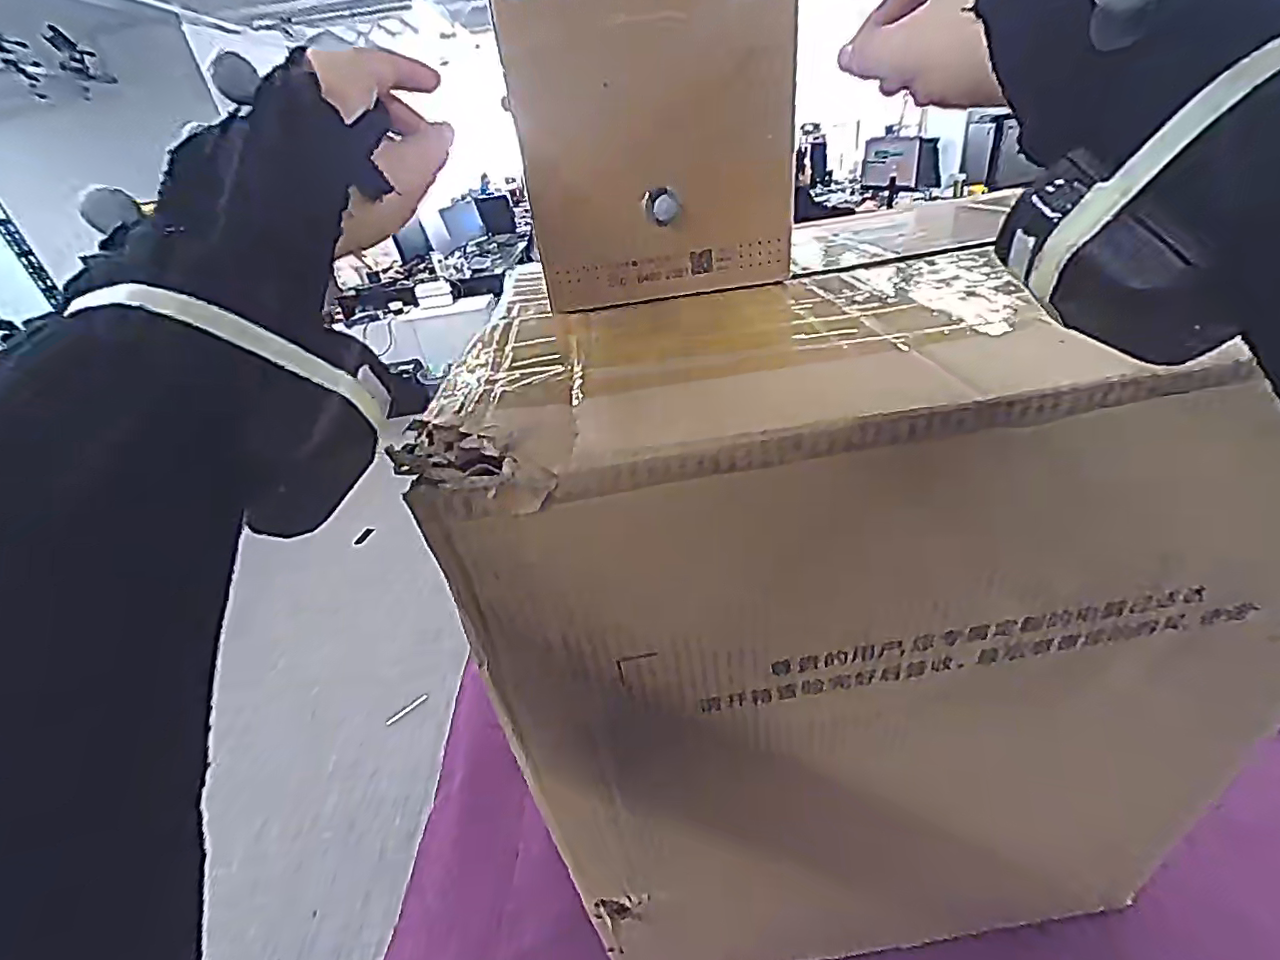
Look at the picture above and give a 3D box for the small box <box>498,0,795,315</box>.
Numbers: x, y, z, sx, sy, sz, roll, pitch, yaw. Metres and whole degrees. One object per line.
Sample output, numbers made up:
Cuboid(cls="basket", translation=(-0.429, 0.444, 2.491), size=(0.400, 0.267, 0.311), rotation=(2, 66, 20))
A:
Cuboid(cls="small box", translation=(0.006, -0.233, 0.404), size=(0.168, 0.176, 0.179), rotation=(-9, 32, -1))
